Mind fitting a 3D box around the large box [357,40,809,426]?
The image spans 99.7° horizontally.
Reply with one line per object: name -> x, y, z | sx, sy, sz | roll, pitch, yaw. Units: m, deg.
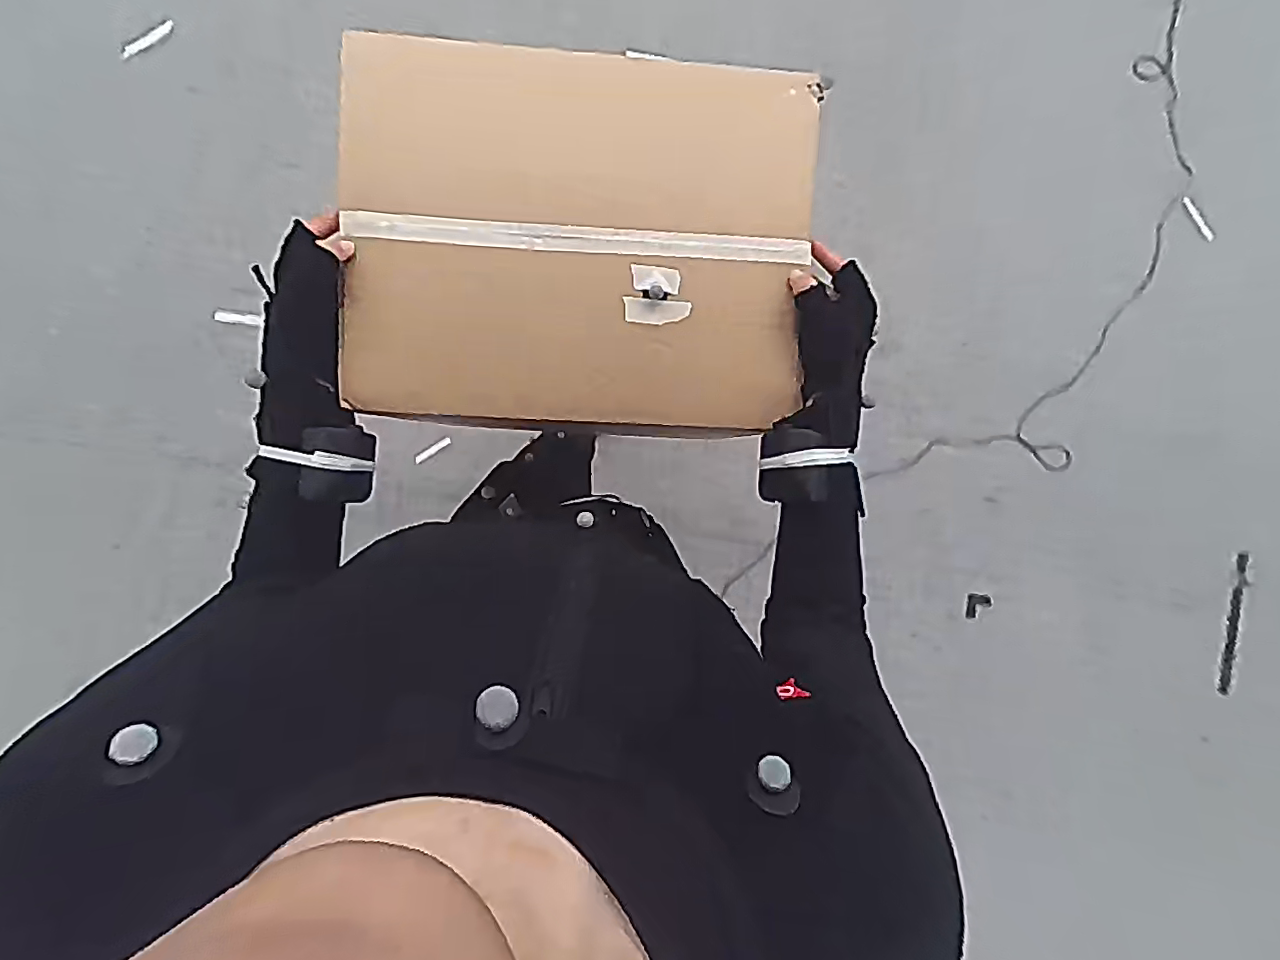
large box -> -0.061, -0.228, 0.632 | 0.408, 0.320, 0.320 | 2, 94, -5
